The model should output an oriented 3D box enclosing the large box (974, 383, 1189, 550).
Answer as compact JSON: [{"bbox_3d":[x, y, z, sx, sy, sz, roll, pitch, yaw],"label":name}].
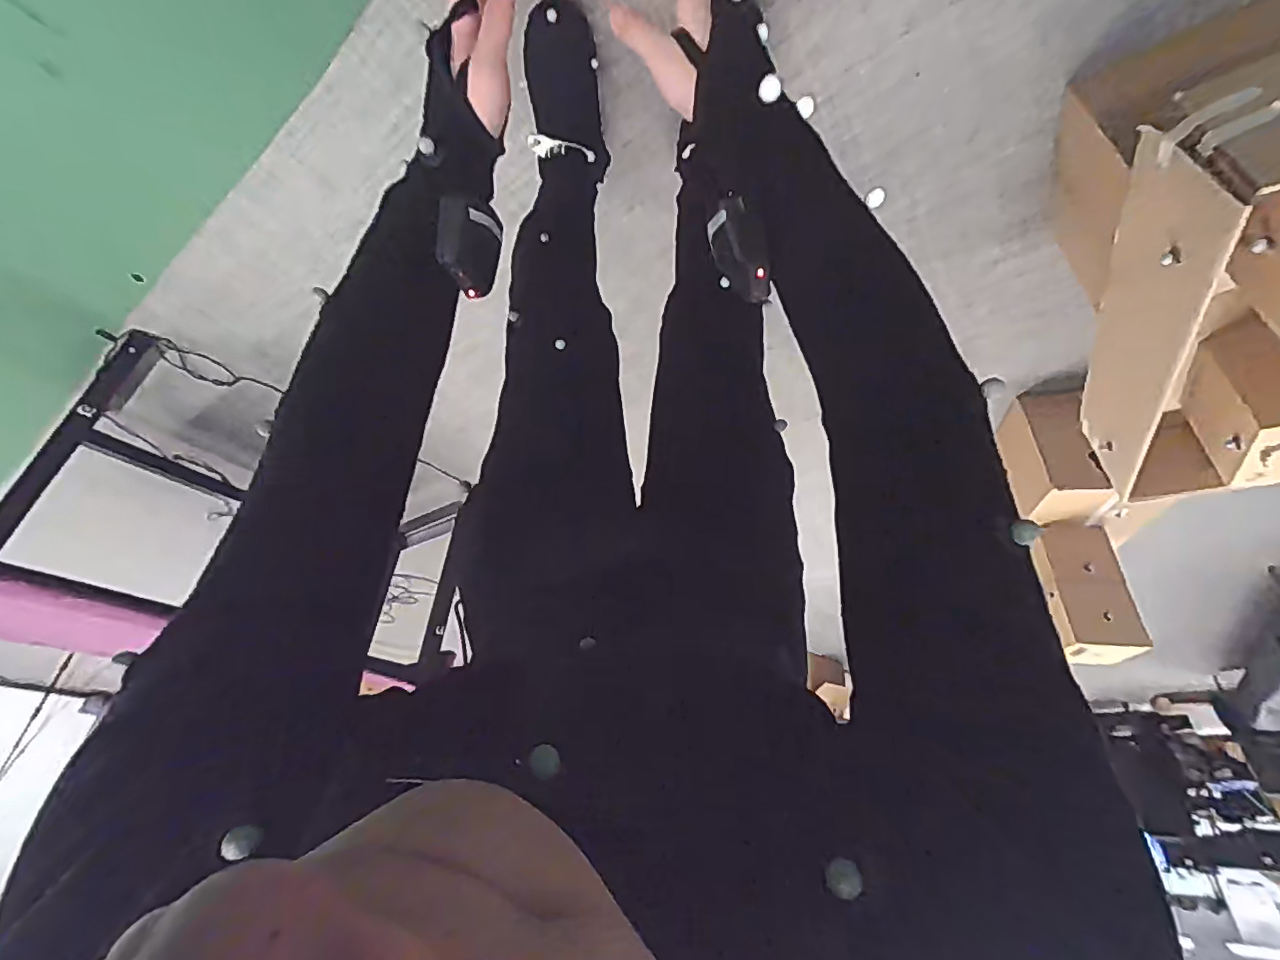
[{"bbox_3d":[1.224,-0.023,1.566,0.320,0.320,0.408,-4,147,11],"label":"large box"}]

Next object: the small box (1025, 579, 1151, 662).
[{"bbox_3d":[1.169,0.370,1.431,0.179,0.176,0.168,1,148,6],"label":"small box"}]

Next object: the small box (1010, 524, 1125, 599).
[{"bbox_3d":[1.188,0.233,1.519,0.179,0.176,0.168,2,148,7],"label":"small box"}]
